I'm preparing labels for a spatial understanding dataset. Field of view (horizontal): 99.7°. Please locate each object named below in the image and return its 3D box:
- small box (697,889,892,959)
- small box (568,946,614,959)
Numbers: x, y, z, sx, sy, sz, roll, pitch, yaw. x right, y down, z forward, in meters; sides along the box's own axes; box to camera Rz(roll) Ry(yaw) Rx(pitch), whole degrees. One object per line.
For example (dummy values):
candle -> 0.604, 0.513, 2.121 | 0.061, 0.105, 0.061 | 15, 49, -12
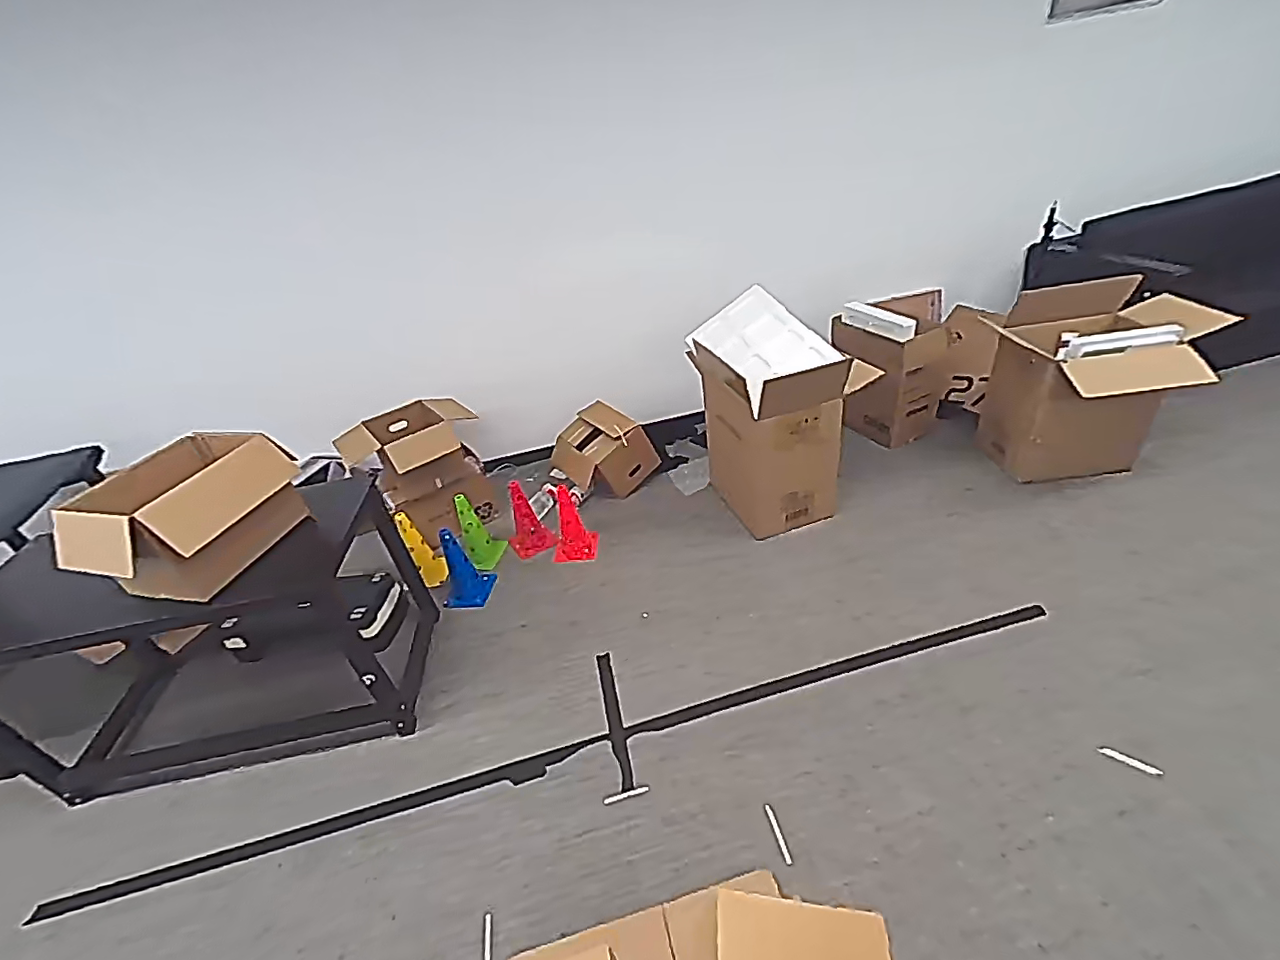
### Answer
small box -> 0.148, 0.546, 0.539 | 0.179, 0.176, 0.168 | 8, 36, 2
small box -> -0.116, 1.155, 1.154 | 0.168, 0.176, 0.179 | -15, 34, -7
